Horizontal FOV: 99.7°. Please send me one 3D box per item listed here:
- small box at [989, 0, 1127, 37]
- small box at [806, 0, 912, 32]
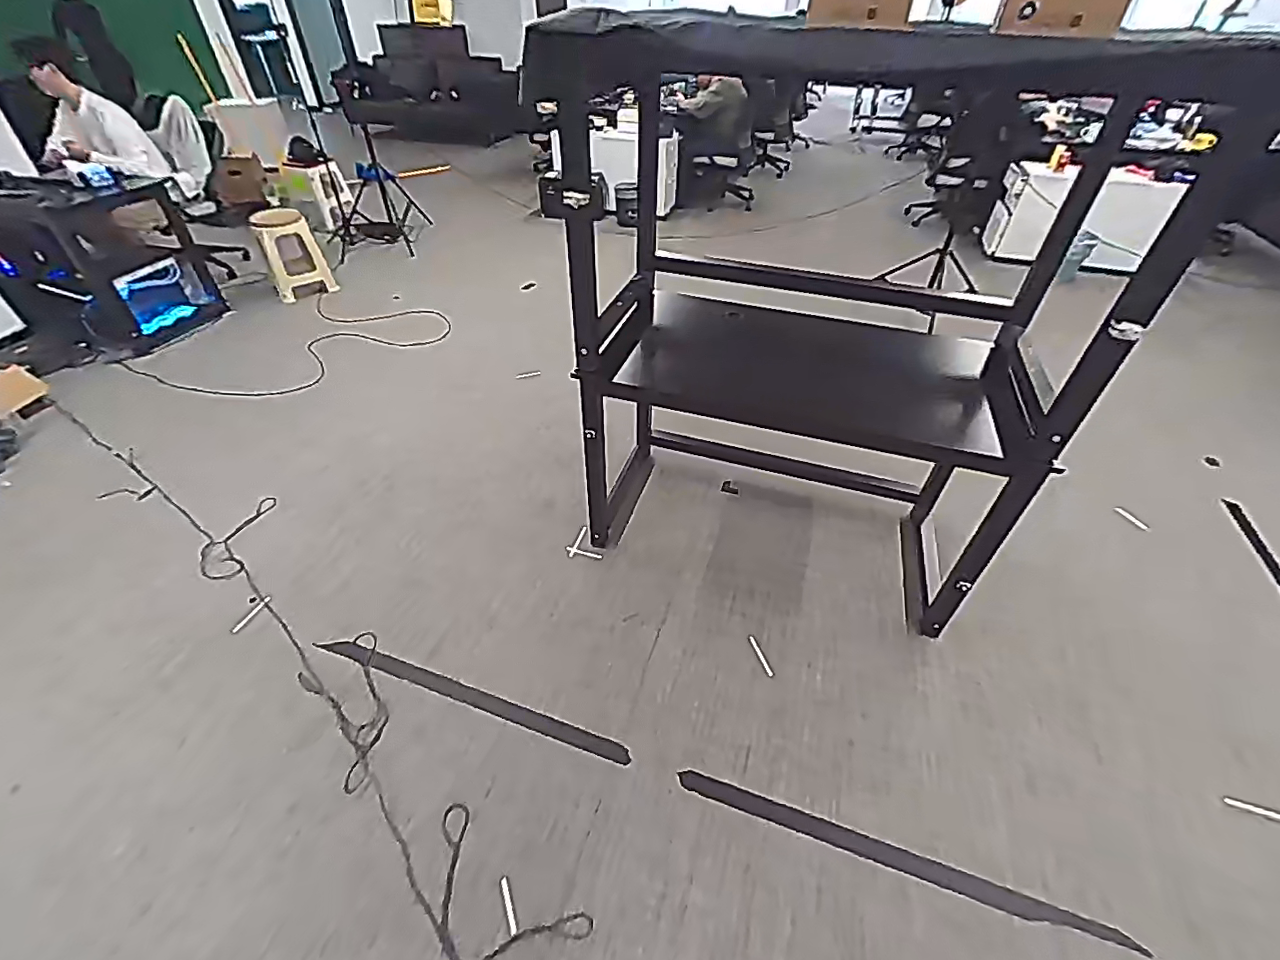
[{"bbox_3d":[0.670,-0.801,0.841,0.168,0.176,0.179,16,42,16],"label":"small box"},{"bbox_3d":[0.385,-0.867,0.907,0.168,0.176,0.179,14,42,15],"label":"small box"}]
